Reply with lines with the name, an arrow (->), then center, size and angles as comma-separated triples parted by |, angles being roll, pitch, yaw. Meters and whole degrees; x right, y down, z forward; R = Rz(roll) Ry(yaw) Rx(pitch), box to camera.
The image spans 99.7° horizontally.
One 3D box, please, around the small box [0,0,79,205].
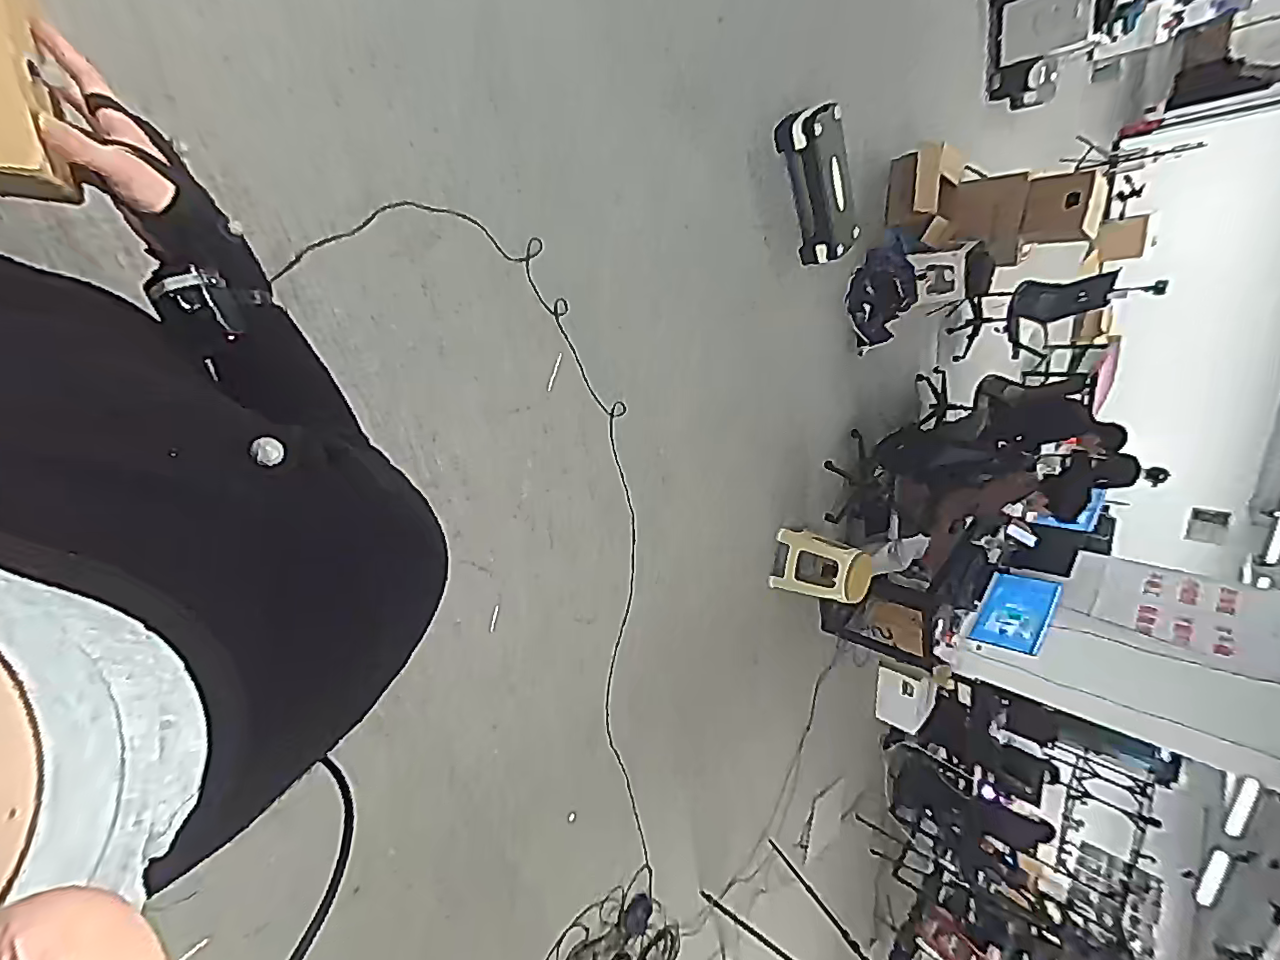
small box -> -0.476, -0.275, 0.322 | 0.168, 0.176, 0.179 | -12, 114, -38
